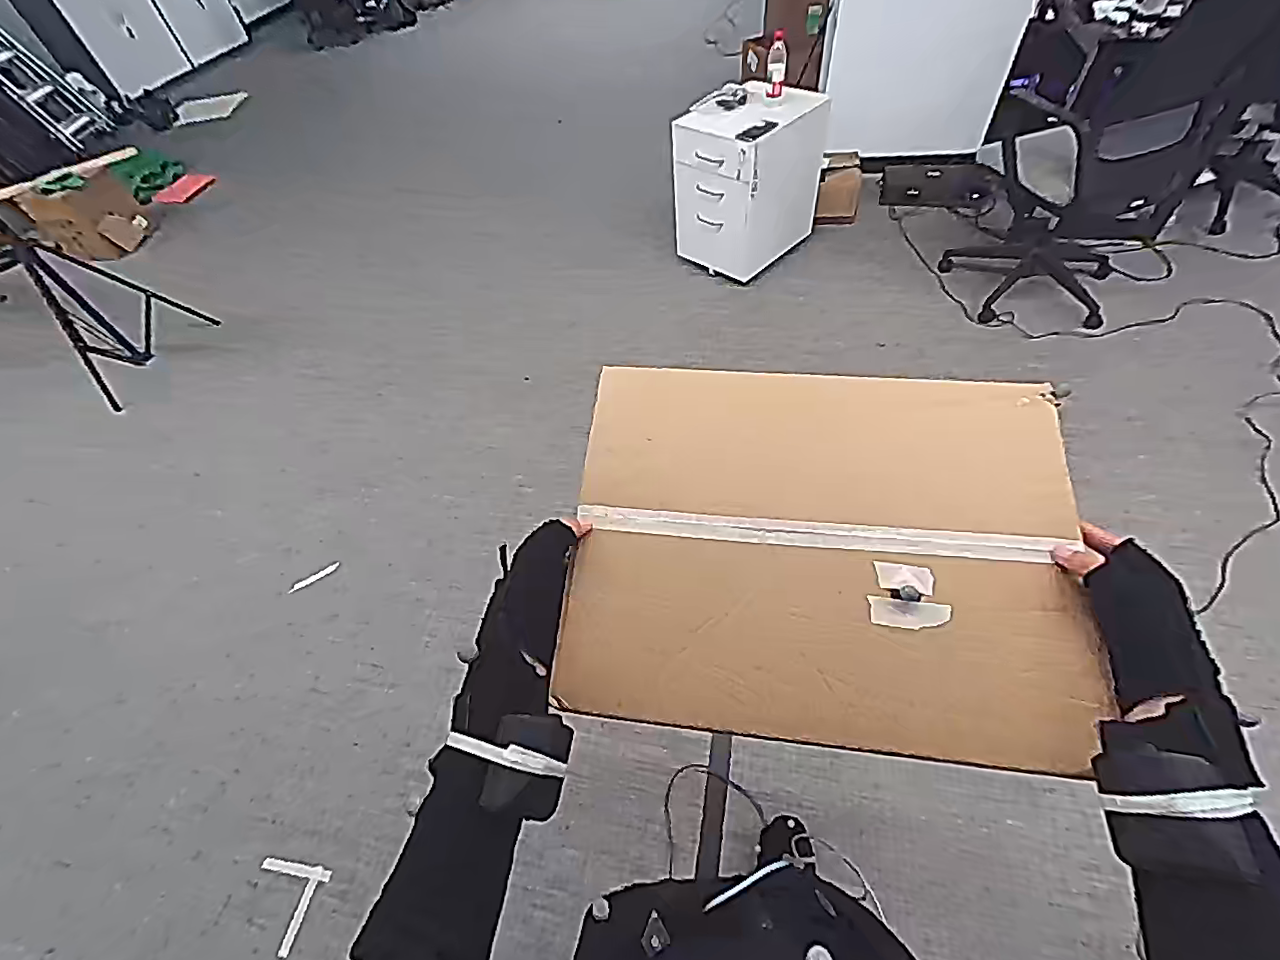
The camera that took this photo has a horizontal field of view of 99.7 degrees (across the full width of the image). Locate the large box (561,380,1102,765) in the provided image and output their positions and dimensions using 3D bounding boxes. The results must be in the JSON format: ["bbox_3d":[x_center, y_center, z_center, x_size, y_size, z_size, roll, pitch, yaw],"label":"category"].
[{"bbox_3d":[0.157,0.108,0.595,0.408,0.320,0.320,4,69,7],"label":"large box"}]
